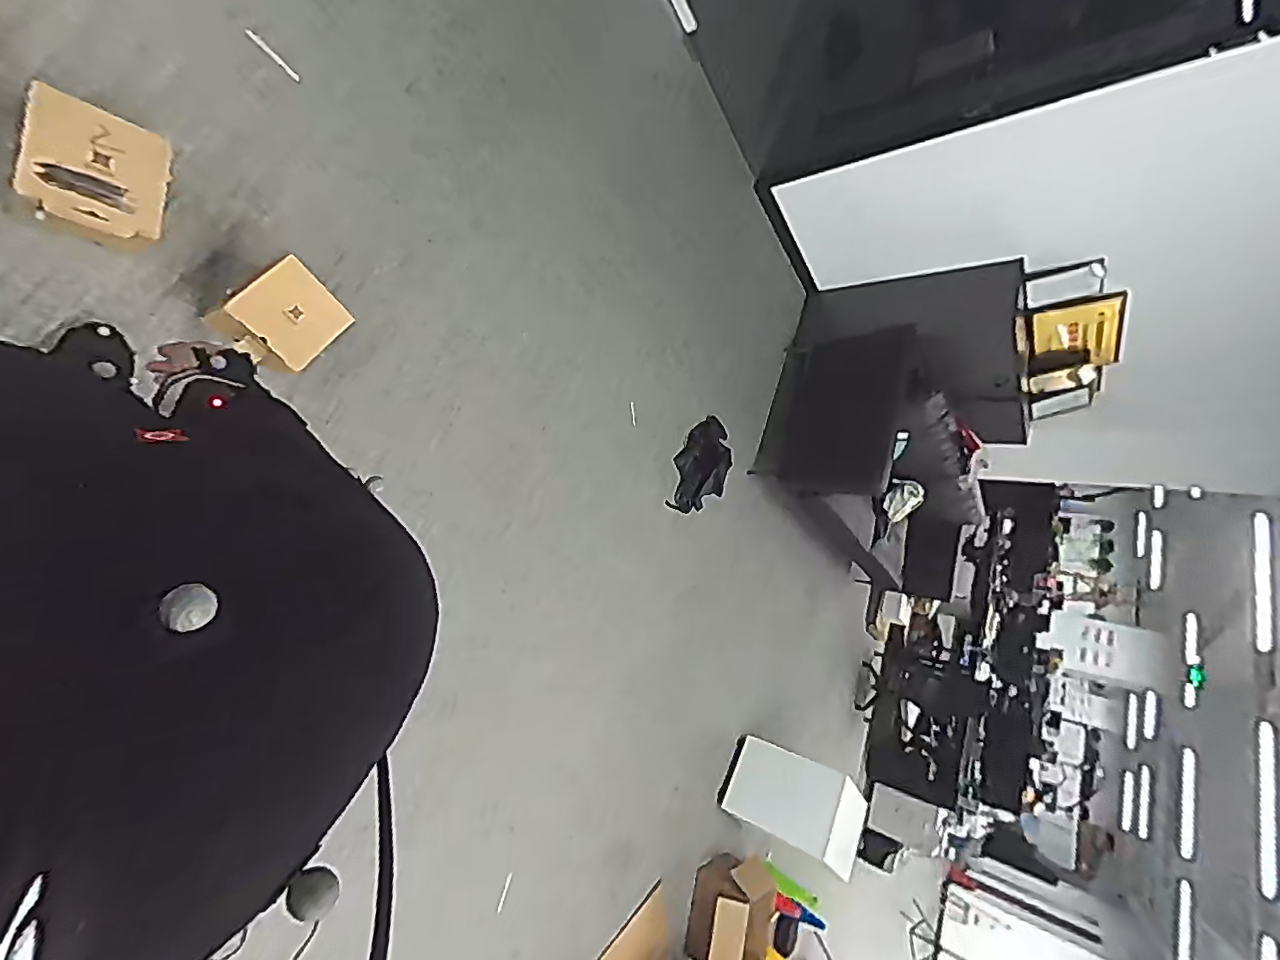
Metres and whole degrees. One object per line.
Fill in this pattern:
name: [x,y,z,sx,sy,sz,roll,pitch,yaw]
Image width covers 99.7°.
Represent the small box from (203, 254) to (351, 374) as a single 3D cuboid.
small box: [-0.761,-0.341,1.133,0.168,0.176,0.179,54,55,-39]
